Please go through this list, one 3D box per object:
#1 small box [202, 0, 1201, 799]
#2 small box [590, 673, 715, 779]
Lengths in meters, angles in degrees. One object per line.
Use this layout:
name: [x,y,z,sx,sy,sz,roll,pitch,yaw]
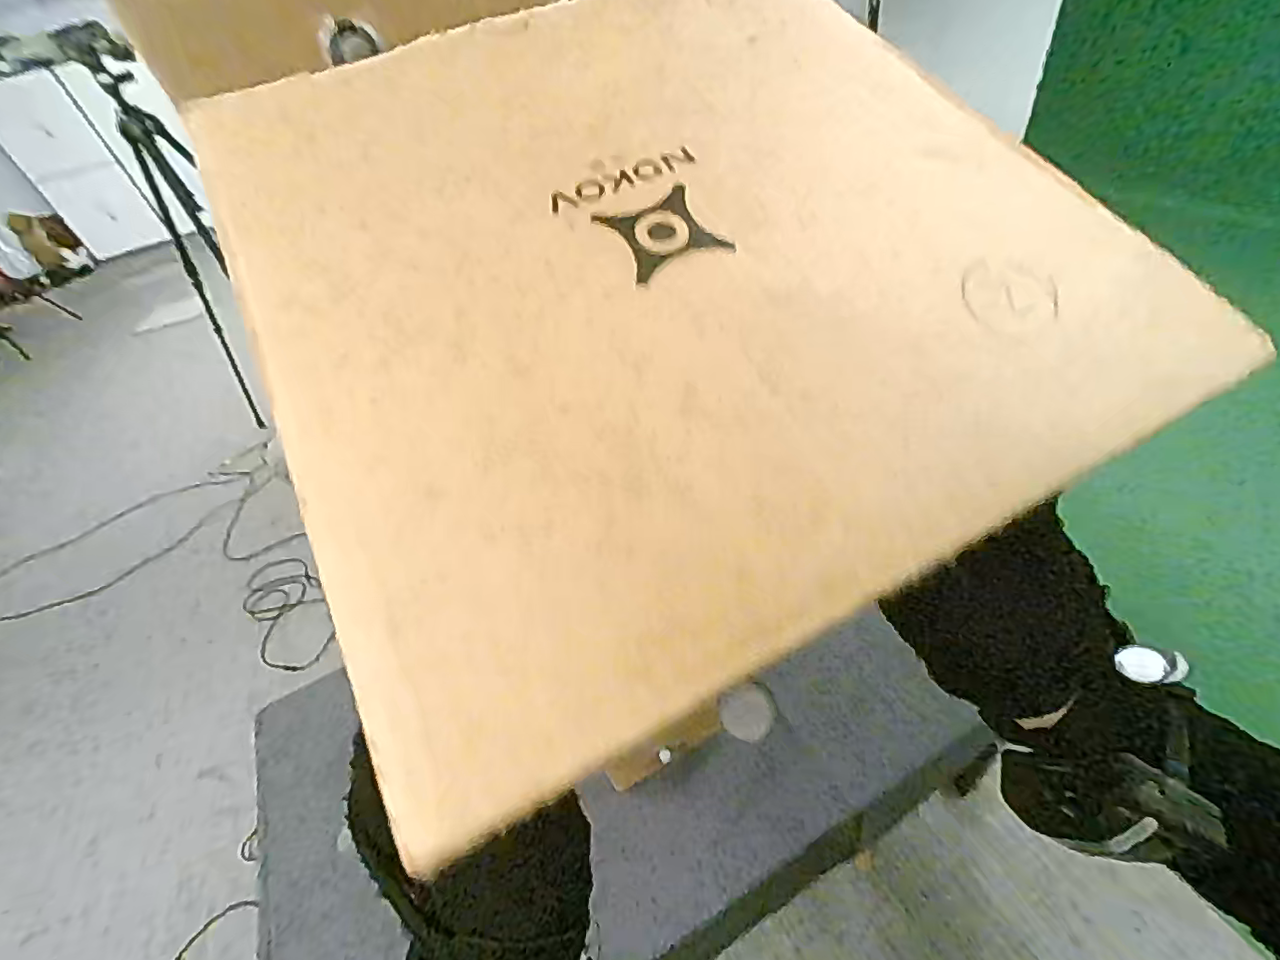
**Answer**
small box: [0.000,-0.024,0.194,0.168,0.176,0.179,-26,67,-11]
small box: [-0.012,0.272,0.751,0.168,0.176,0.179,-26,44,-12]
